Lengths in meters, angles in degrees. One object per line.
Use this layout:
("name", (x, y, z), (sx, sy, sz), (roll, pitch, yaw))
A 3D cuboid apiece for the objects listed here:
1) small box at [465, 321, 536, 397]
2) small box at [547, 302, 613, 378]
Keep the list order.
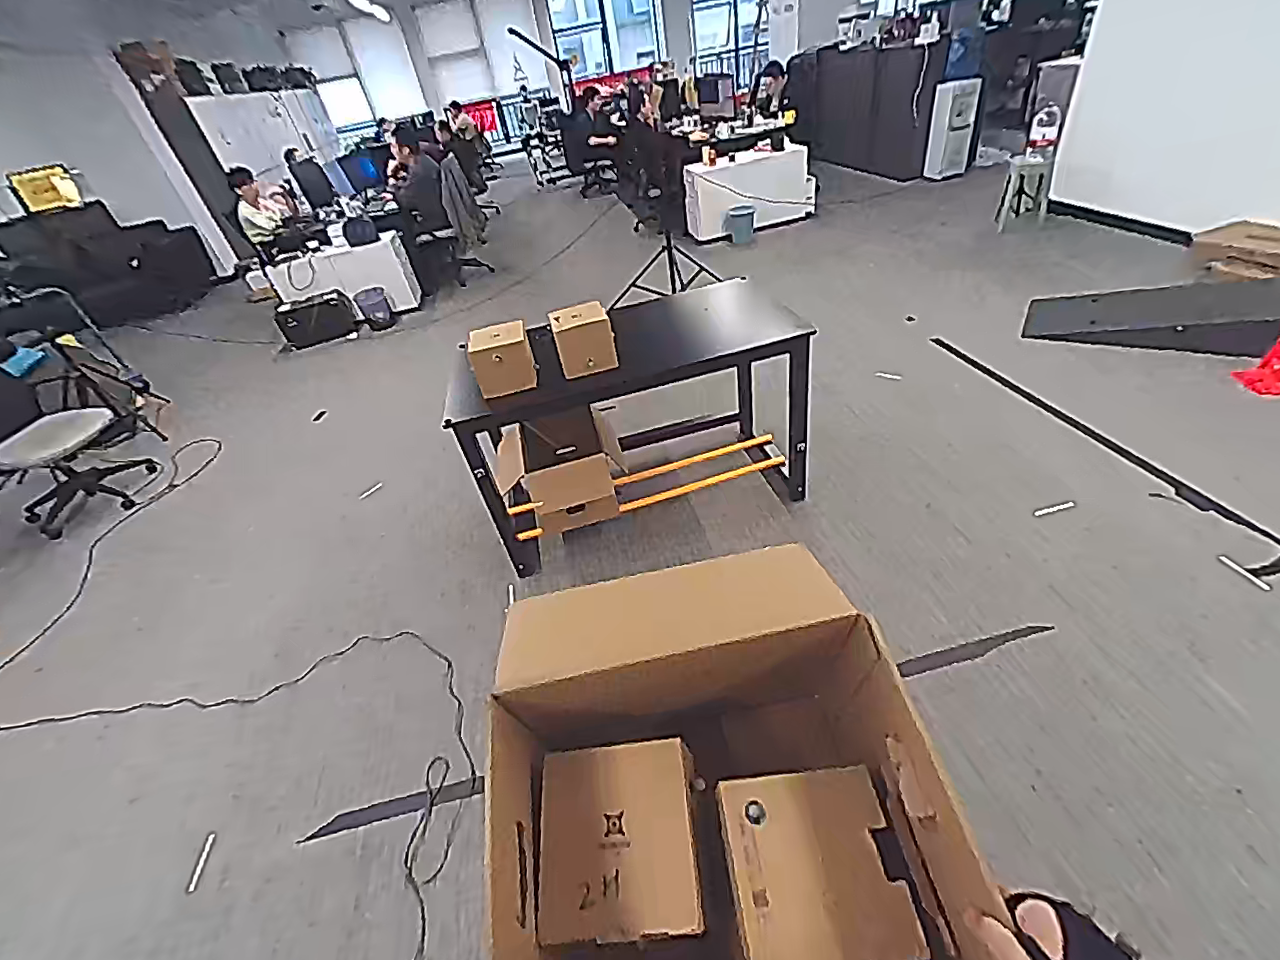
("small box", (-0.445, -0.386, 1.733), (0.179, 0.176, 0.168), (-14, 39, -4))
("small box", (-0.190, -0.452, 1.750), (0.179, 0.176, 0.168), (-15, 38, -6))
